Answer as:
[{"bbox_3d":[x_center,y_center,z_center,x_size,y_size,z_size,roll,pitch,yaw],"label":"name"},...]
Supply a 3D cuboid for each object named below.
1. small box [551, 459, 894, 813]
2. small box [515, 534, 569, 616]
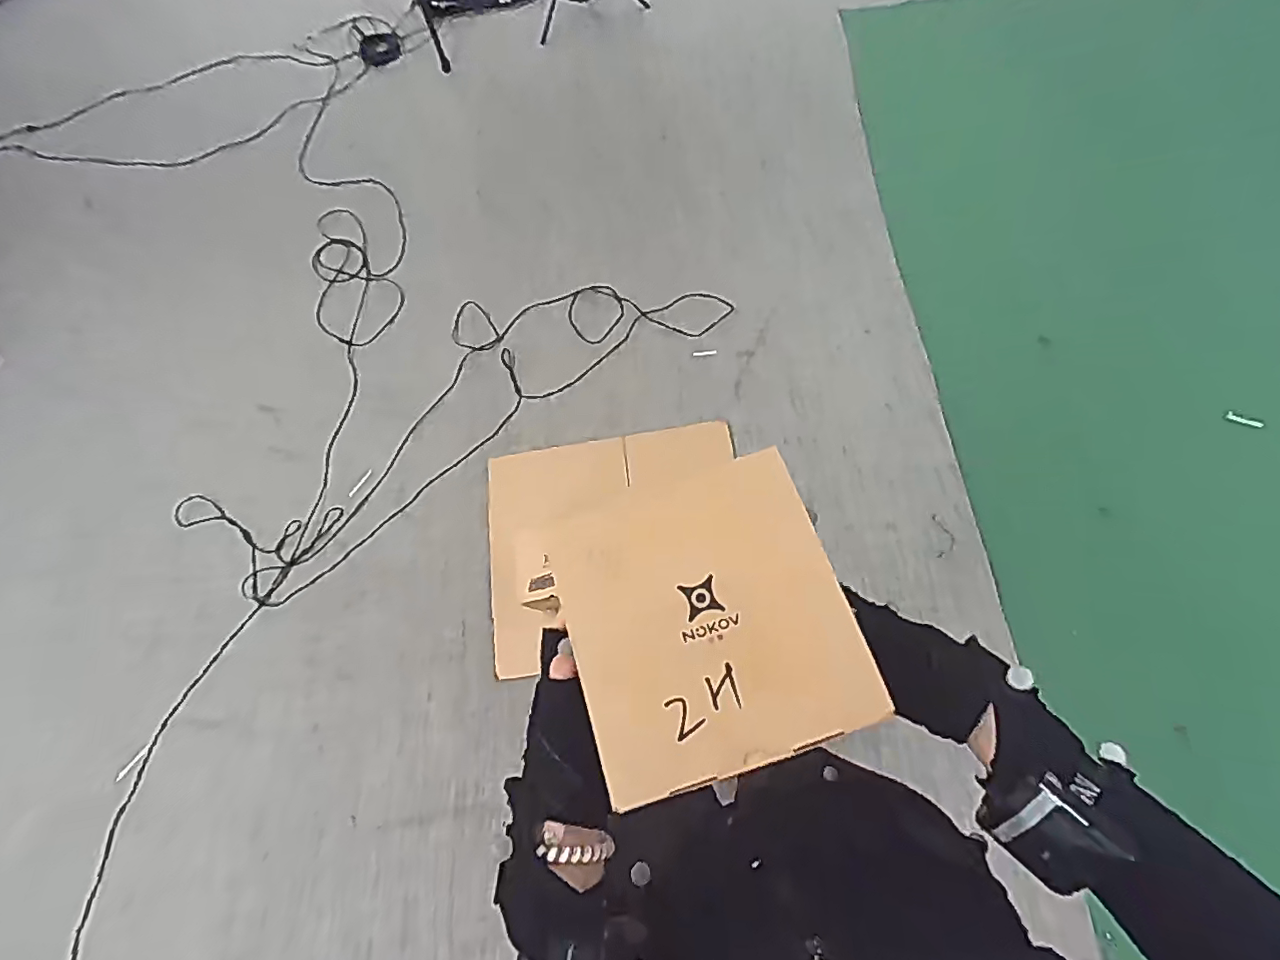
[{"bbox_3d":[0.047,0.112,0.400,0.168,0.176,0.179,-17,69,-1],"label":"small box"},{"bbox_3d":[-0.201,0.237,1.347,0.168,0.176,0.179,-11,69,4],"label":"small box"}]
